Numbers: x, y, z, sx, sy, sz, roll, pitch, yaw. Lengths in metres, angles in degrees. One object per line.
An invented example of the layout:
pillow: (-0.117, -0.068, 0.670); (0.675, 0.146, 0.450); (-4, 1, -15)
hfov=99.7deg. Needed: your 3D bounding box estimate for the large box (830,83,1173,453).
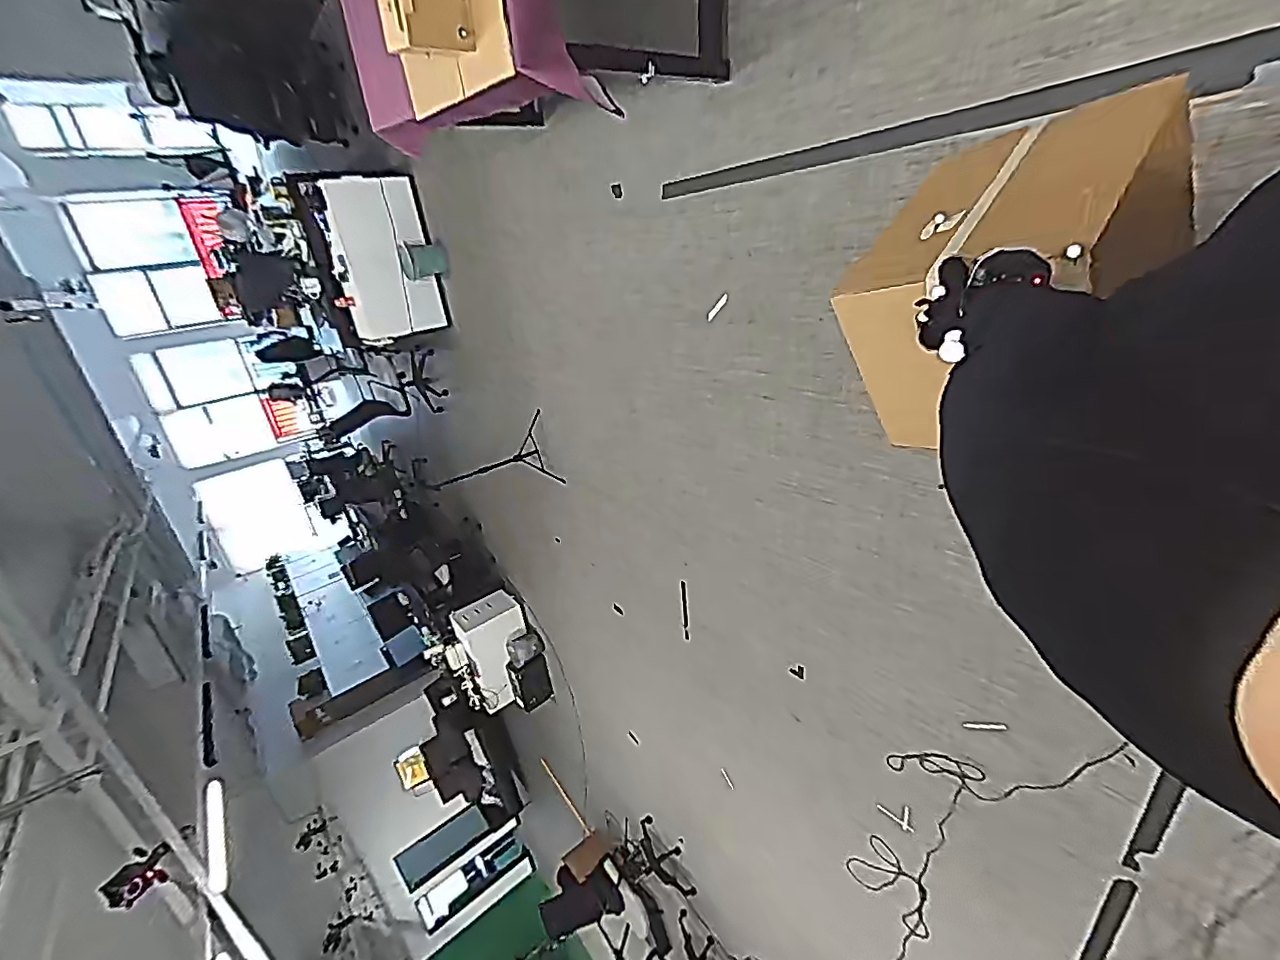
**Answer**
large box: (0.570, -0.295, 0.837); (0.320, 0.408, 0.320); (9, 145, 54)
